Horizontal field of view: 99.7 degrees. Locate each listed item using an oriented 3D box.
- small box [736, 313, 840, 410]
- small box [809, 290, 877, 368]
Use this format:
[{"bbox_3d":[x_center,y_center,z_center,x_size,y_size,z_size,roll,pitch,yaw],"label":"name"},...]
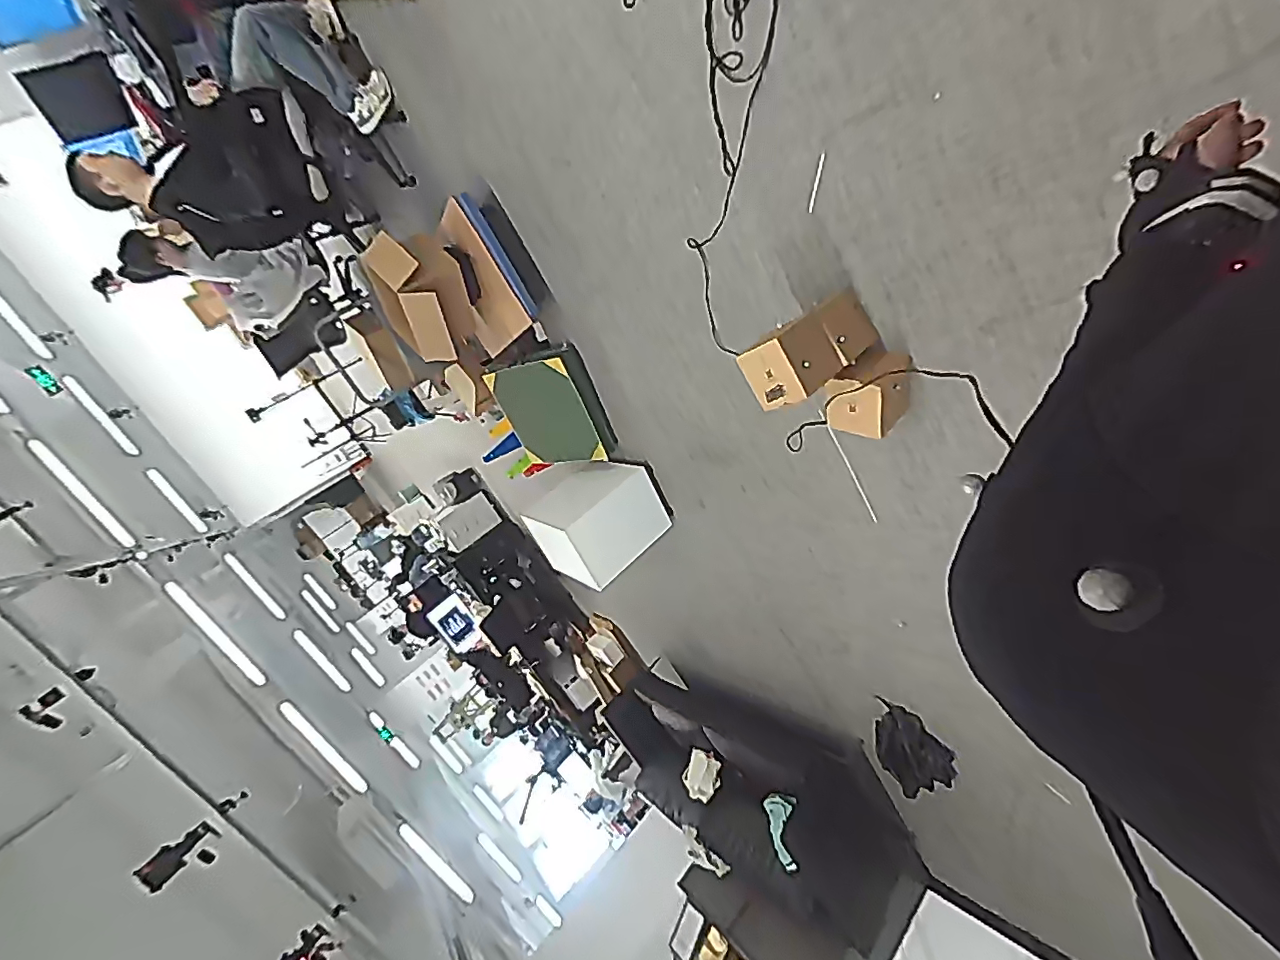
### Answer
[{"bbox_3d":[0.401,-0.316,1.450,0.179,0.176,0.168,57,152,-11],"label":"small box"},{"bbox_3d":[0.524,-0.401,1.521,0.168,0.176,0.179,56,153,-7],"label":"small box"}]
